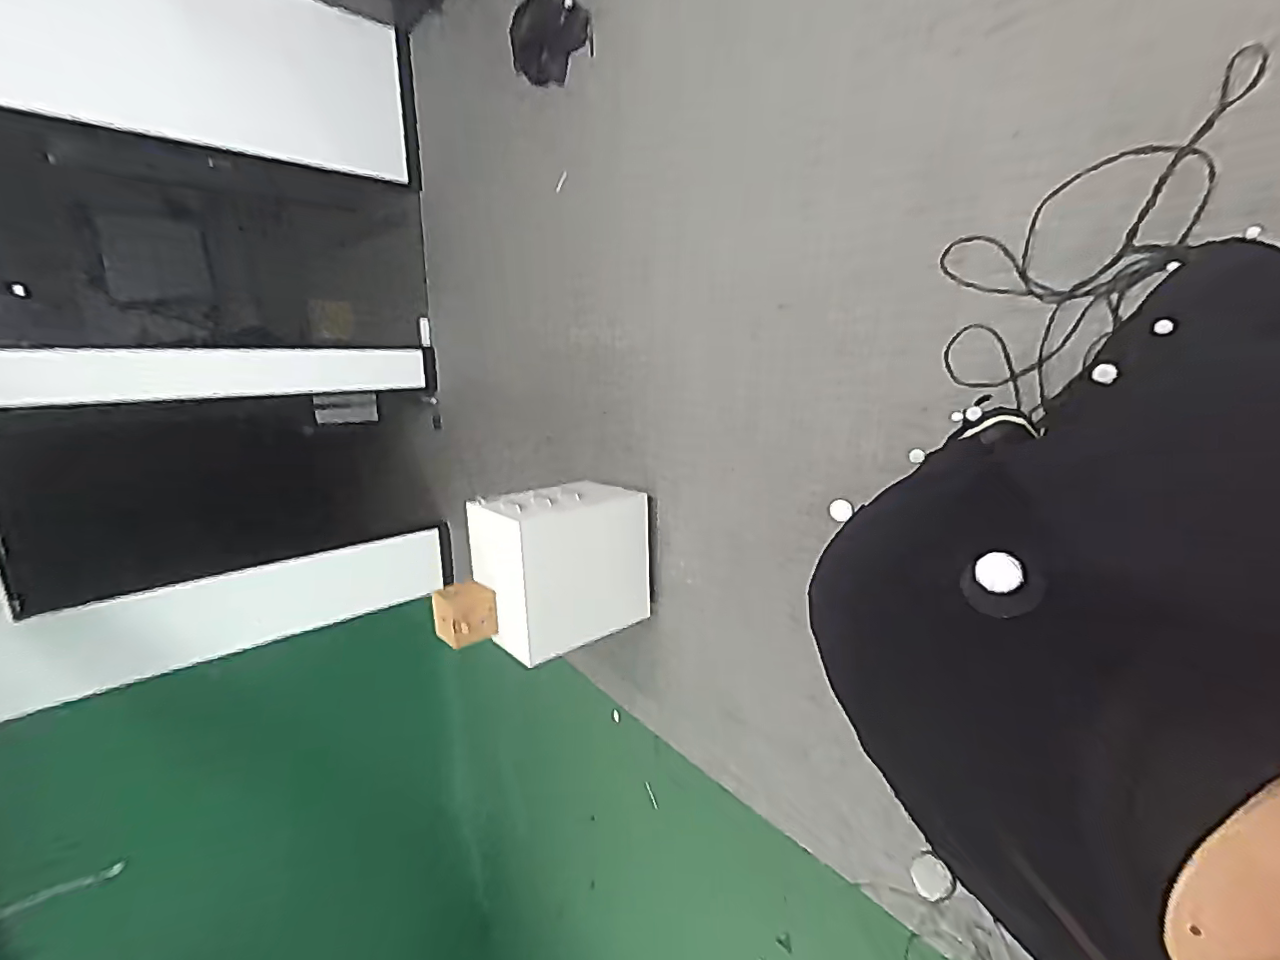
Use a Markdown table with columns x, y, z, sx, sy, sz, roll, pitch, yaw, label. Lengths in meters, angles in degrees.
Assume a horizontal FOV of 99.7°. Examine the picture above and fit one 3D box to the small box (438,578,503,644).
| x | y | z | sx | sy | sz | roll | pitch | yaw | label |
| --- | --- | --- | --- | --- | --- | --- | --- | --- | --- |
| -0.616 | 0.468 | 1.967 | 0.179 | 0.176 | 0.168 | 9 | 105 | 47 | small box |
